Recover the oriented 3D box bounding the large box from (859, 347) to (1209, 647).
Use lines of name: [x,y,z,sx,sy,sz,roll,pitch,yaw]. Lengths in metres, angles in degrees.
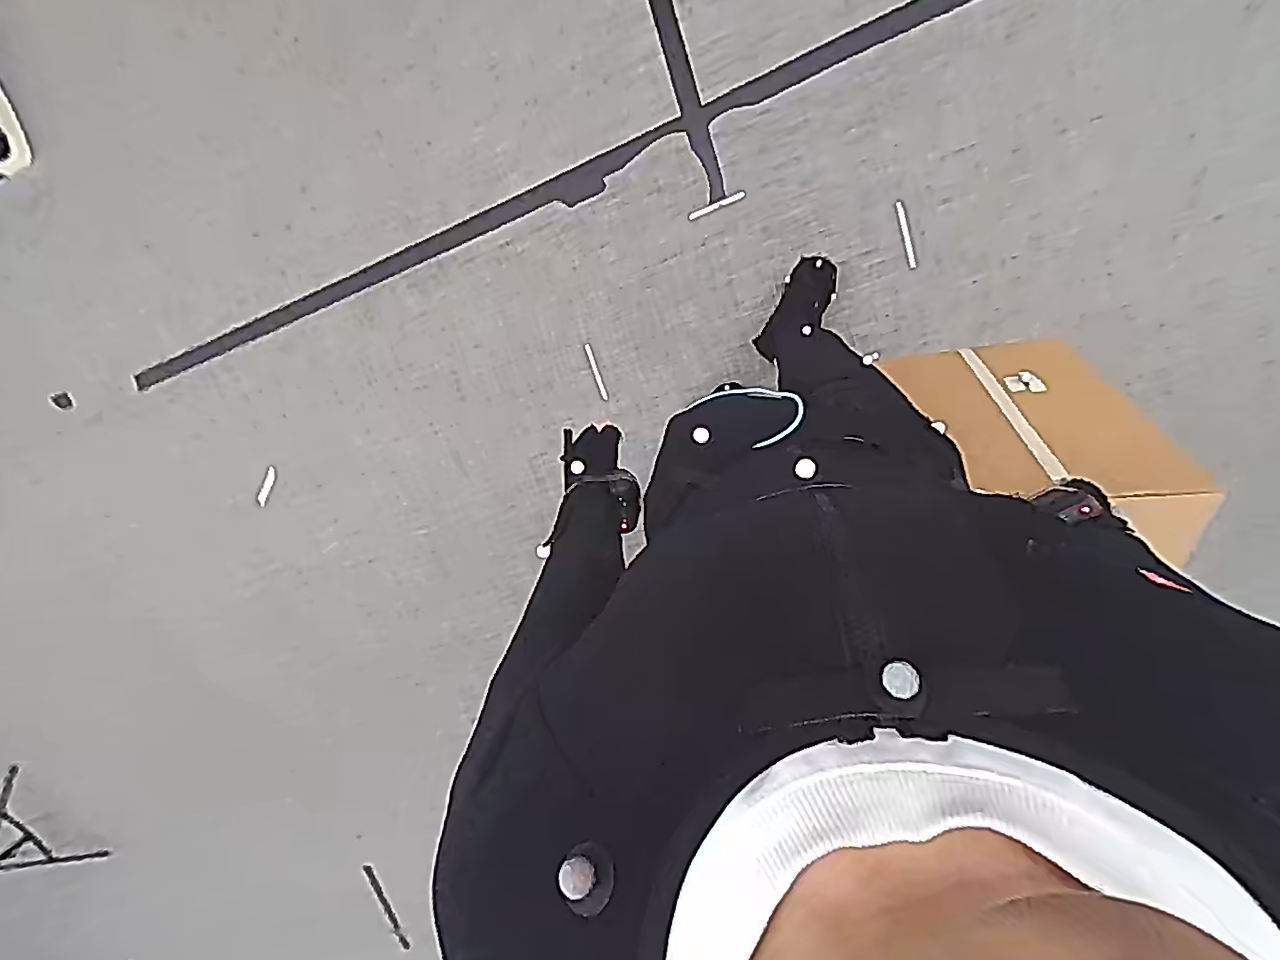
large box: [0.573,0.020,0.903,0.320,0.408,0.320,-4,127,11]
